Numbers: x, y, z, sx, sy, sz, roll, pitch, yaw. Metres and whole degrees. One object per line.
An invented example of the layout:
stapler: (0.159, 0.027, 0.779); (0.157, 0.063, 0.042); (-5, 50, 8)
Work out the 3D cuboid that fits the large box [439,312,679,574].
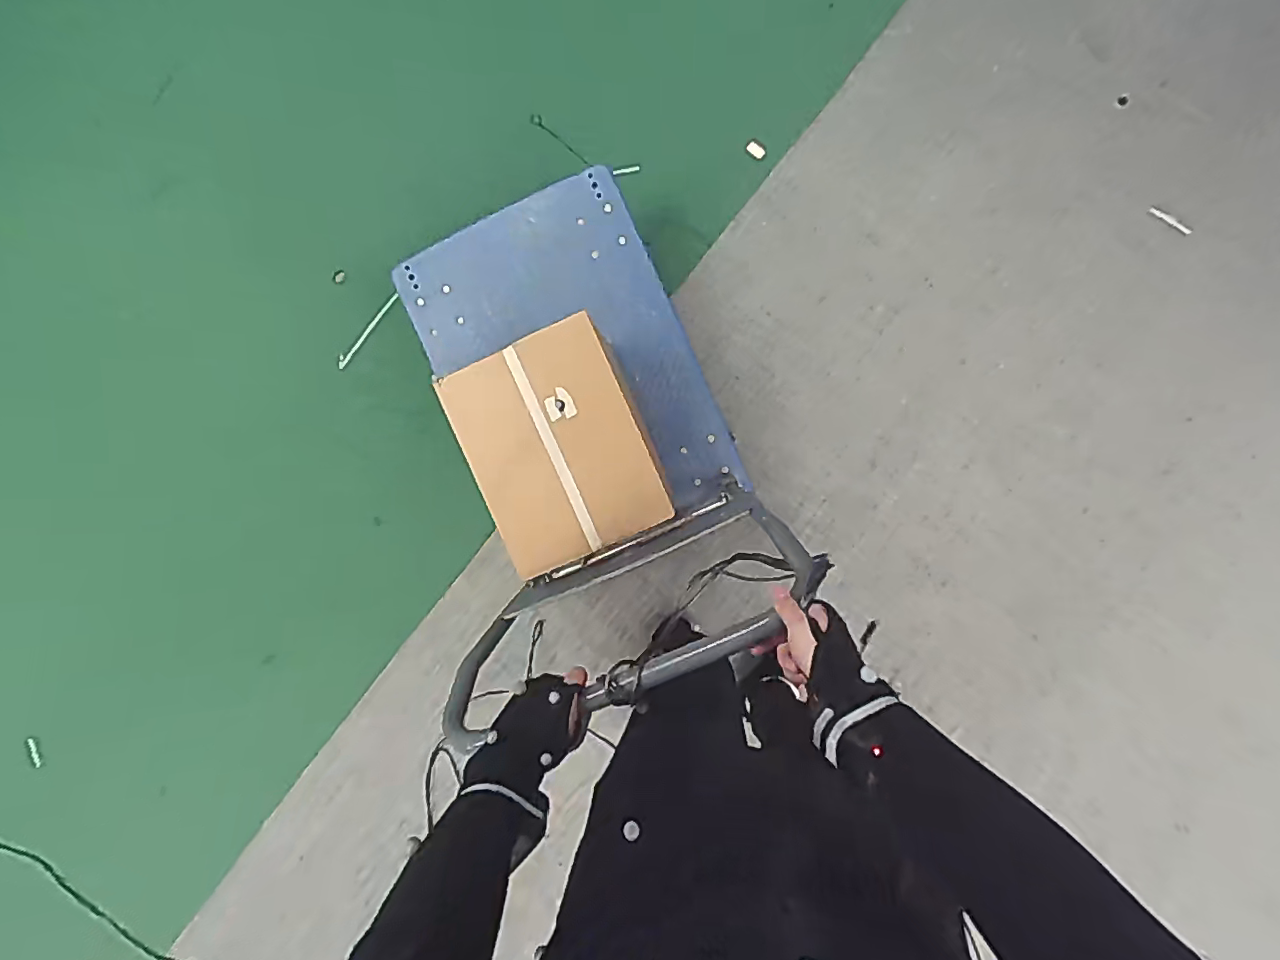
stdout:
large box: (-0.139, -0.070, 1.133); (0.320, 0.320, 0.408); (-24, 90, 5)
